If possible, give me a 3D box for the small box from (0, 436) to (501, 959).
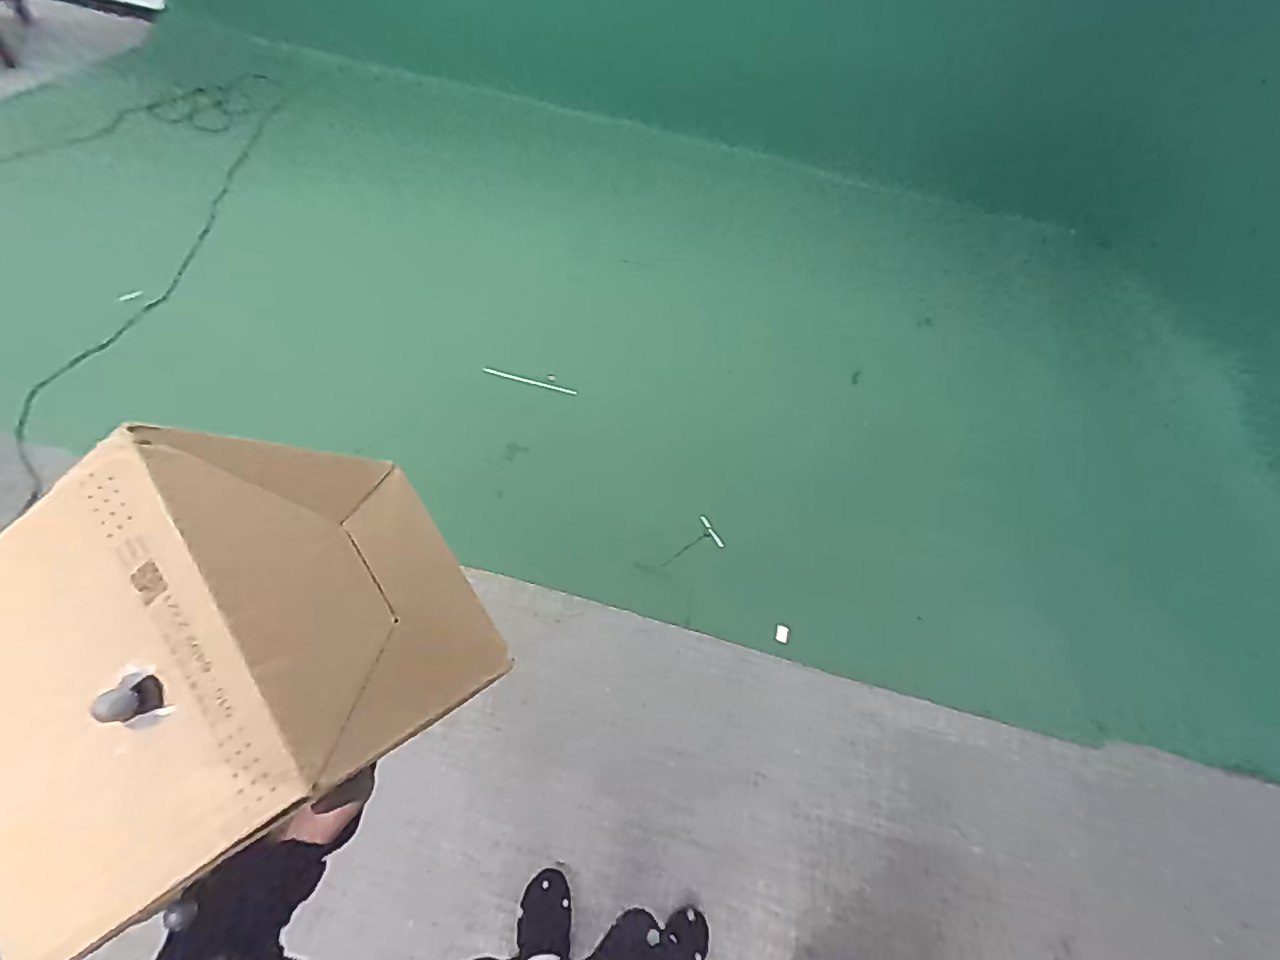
[{"bbox_3d":[-0.210,0.095,0.306,0.176,0.179,0.168,-36,81,6],"label":"small box"}]
